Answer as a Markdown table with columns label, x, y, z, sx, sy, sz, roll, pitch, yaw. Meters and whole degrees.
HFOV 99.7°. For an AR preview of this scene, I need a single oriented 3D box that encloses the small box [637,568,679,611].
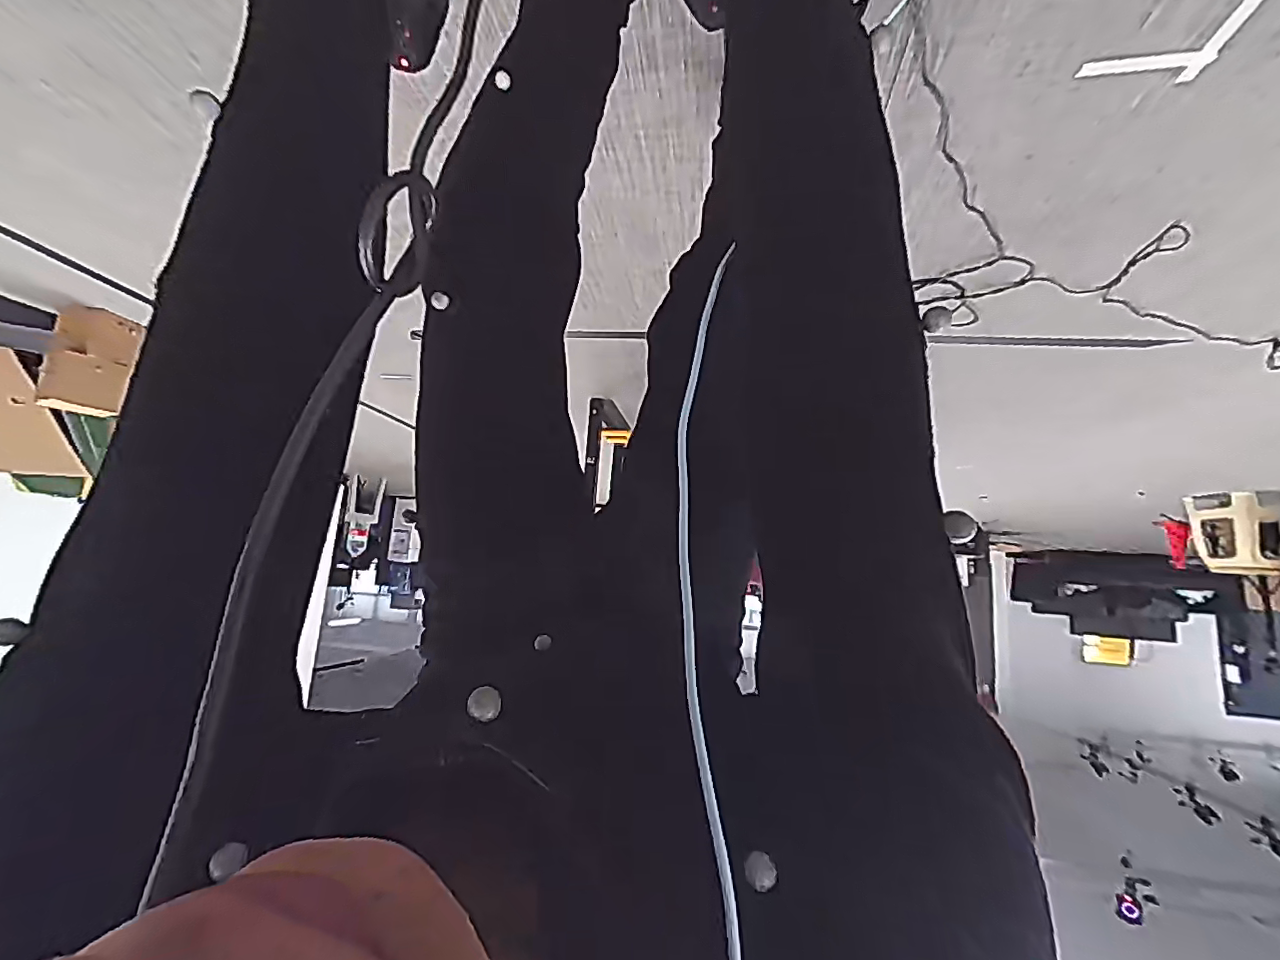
| label | x | y | z | sx | sy | sz | roll | pitch | yaw |
| --- | --- | --- | --- | --- | --- | --- | --- | --- | --- |
| small box | 0.082 | 0.471 | 2.343 | 0.168 | 0.176 | 0.179 | 3 | 171 | 8 |
